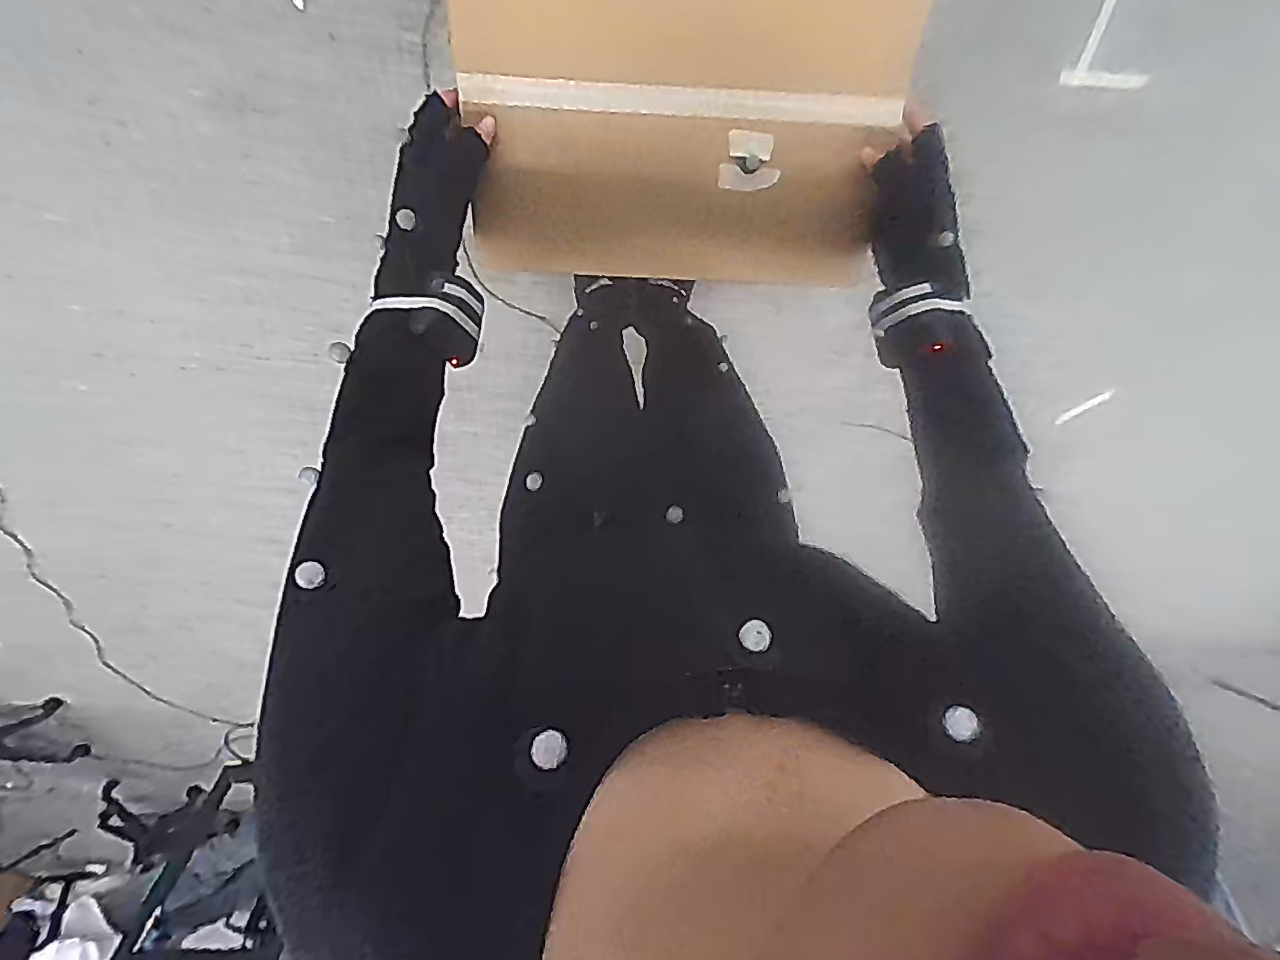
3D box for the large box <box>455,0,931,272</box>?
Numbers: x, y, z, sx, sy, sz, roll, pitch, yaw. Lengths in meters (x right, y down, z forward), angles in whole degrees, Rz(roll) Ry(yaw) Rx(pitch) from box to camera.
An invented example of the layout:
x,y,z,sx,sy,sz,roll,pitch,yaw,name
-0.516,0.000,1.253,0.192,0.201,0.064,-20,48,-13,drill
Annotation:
x,y,z,sx,sy,sz,roll,pitch,yaw,name
0.037,-0.431,0.604,0.408,0.320,0.320,1,124,-3,large box
